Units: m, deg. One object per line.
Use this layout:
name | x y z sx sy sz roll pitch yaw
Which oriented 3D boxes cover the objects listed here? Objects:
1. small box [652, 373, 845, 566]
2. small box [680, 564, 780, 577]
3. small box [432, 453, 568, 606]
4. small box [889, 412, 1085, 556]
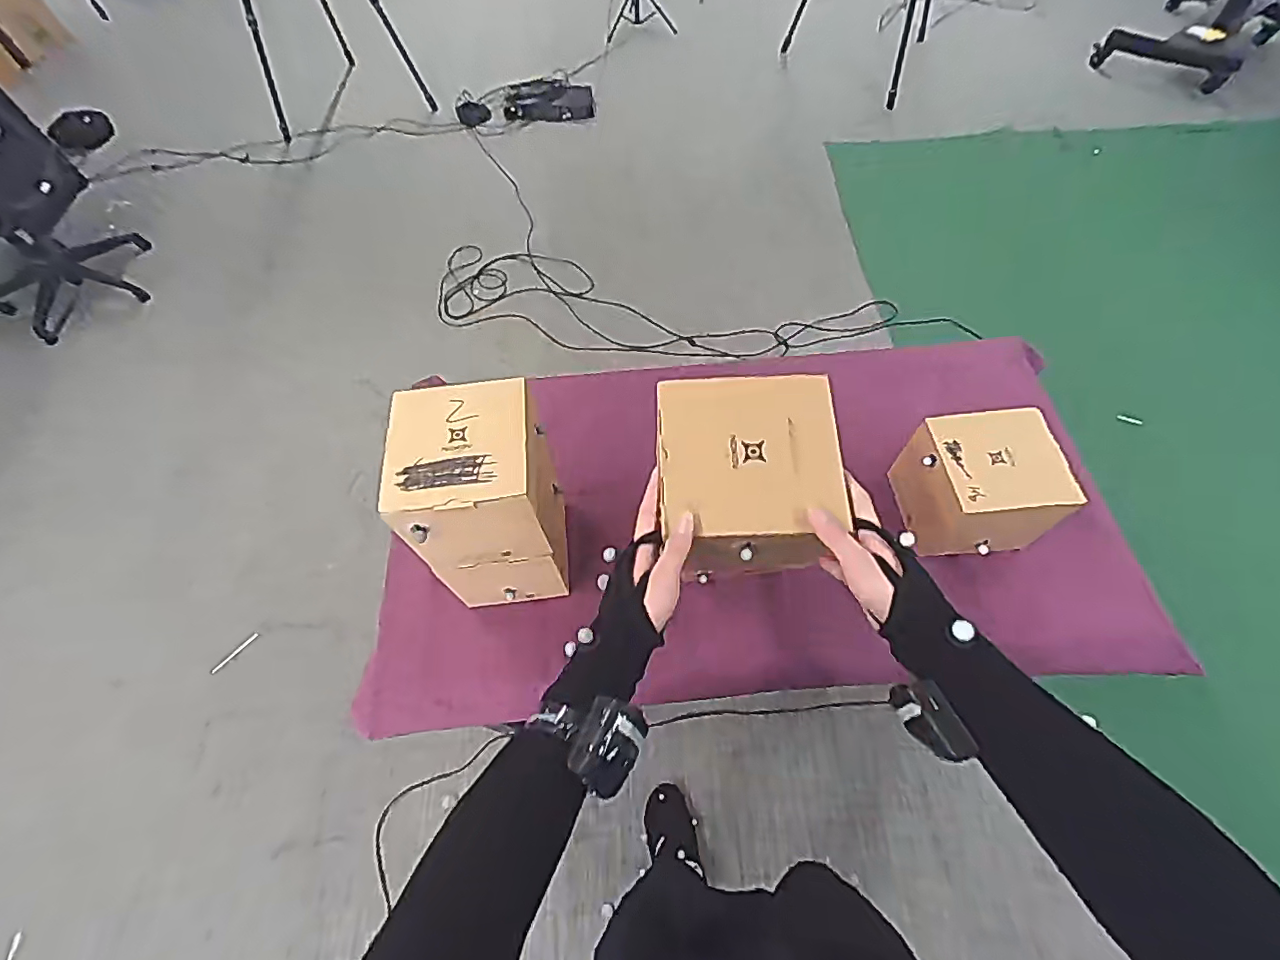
small box | 0.105 -0.002 0.598 0.179 0.176 0.168 -1 69 2
small box | 0.138 0.045 0.852 0.168 0.176 0.179 -6 60 -1
small box | -0.207 0.081 0.845 0.168 0.176 0.179 -7 60 -1
small box | 0.528 0.012 0.852 0.179 0.176 0.168 -4 60 0
